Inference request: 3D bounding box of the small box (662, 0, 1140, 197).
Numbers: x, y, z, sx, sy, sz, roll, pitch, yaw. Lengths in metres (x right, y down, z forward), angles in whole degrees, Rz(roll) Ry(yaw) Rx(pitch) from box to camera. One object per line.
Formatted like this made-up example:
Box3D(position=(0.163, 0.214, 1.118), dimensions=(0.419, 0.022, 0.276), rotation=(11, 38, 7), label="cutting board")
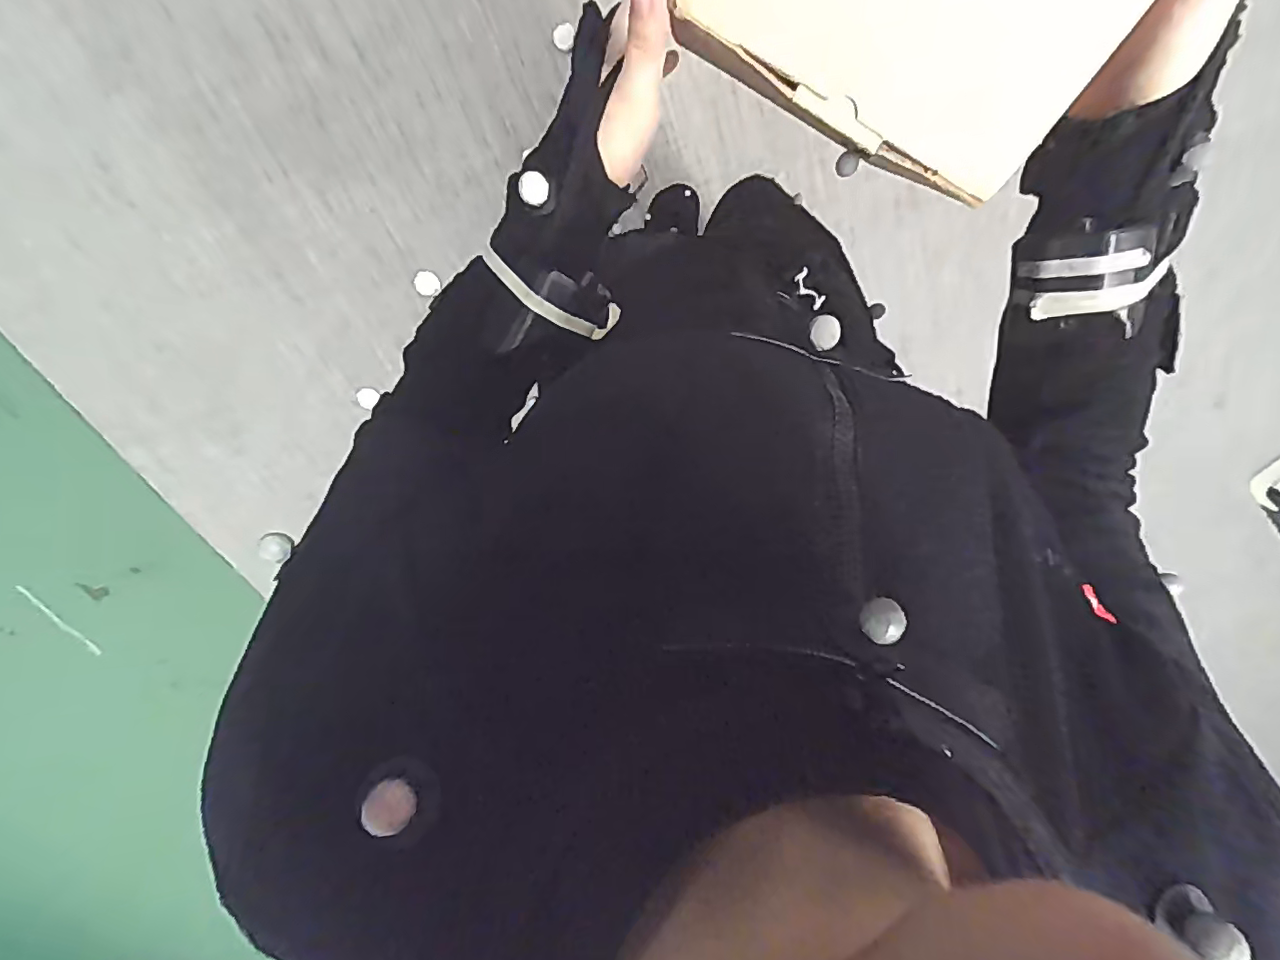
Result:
Box3D(position=(0.123, -0.264, 0.244), dimensions=(0.168, 0.176, 0.179), rotation=(22, 124, -12), label="small box")
